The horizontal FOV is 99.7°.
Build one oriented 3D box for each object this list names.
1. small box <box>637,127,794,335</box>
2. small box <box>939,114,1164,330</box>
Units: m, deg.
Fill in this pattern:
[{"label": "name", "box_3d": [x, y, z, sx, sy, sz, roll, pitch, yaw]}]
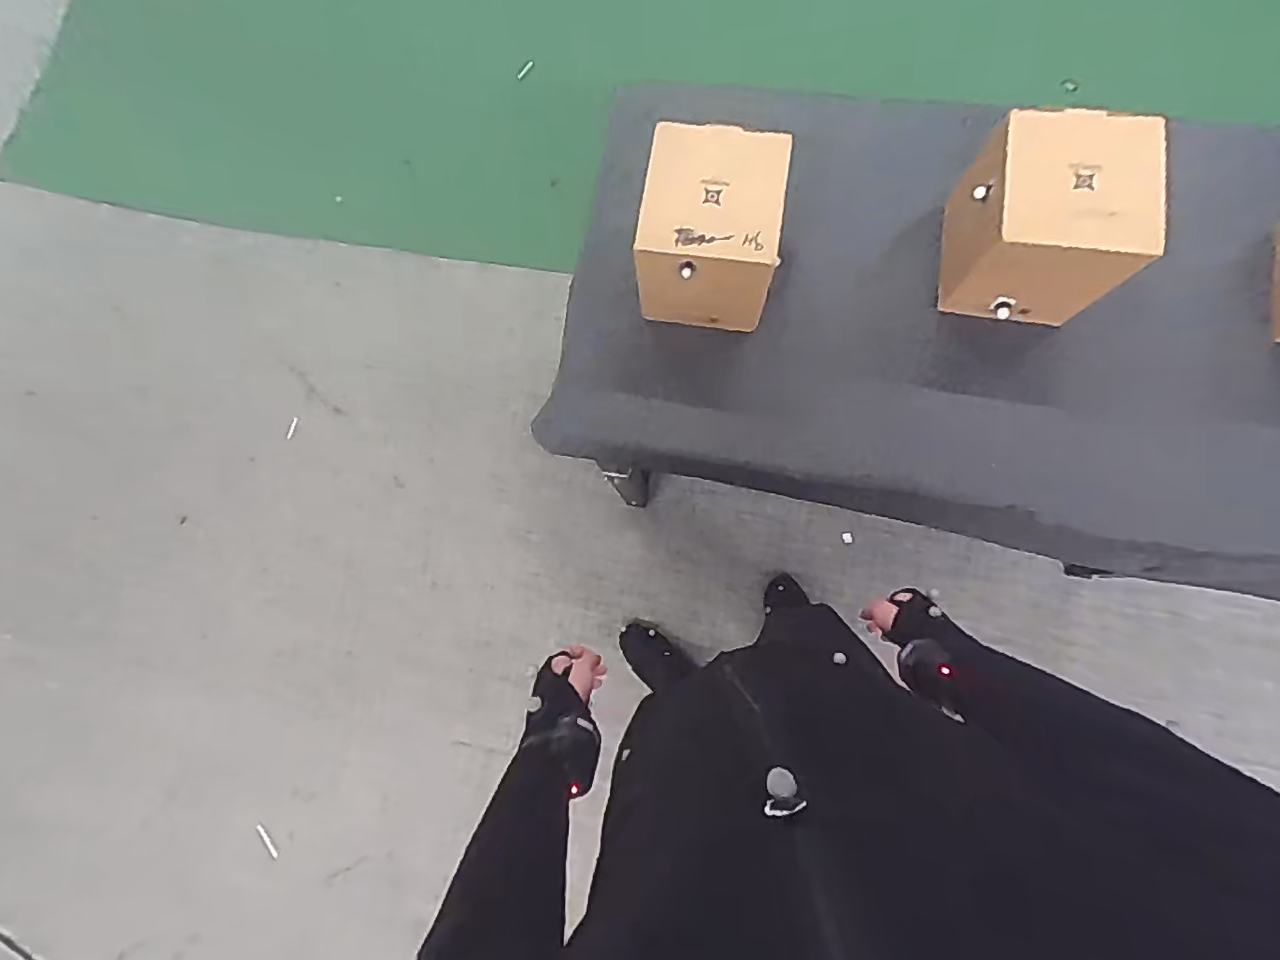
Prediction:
[{"label": "small box", "box_3d": [0.094, -0.316, 0.710, 0.168, 0.176, 0.179, 9, 79, 6]}, {"label": "small box", "box_3d": [0.501, -0.315, 0.683, 0.168, 0.176, 0.179, 8, 81, 7]}]
